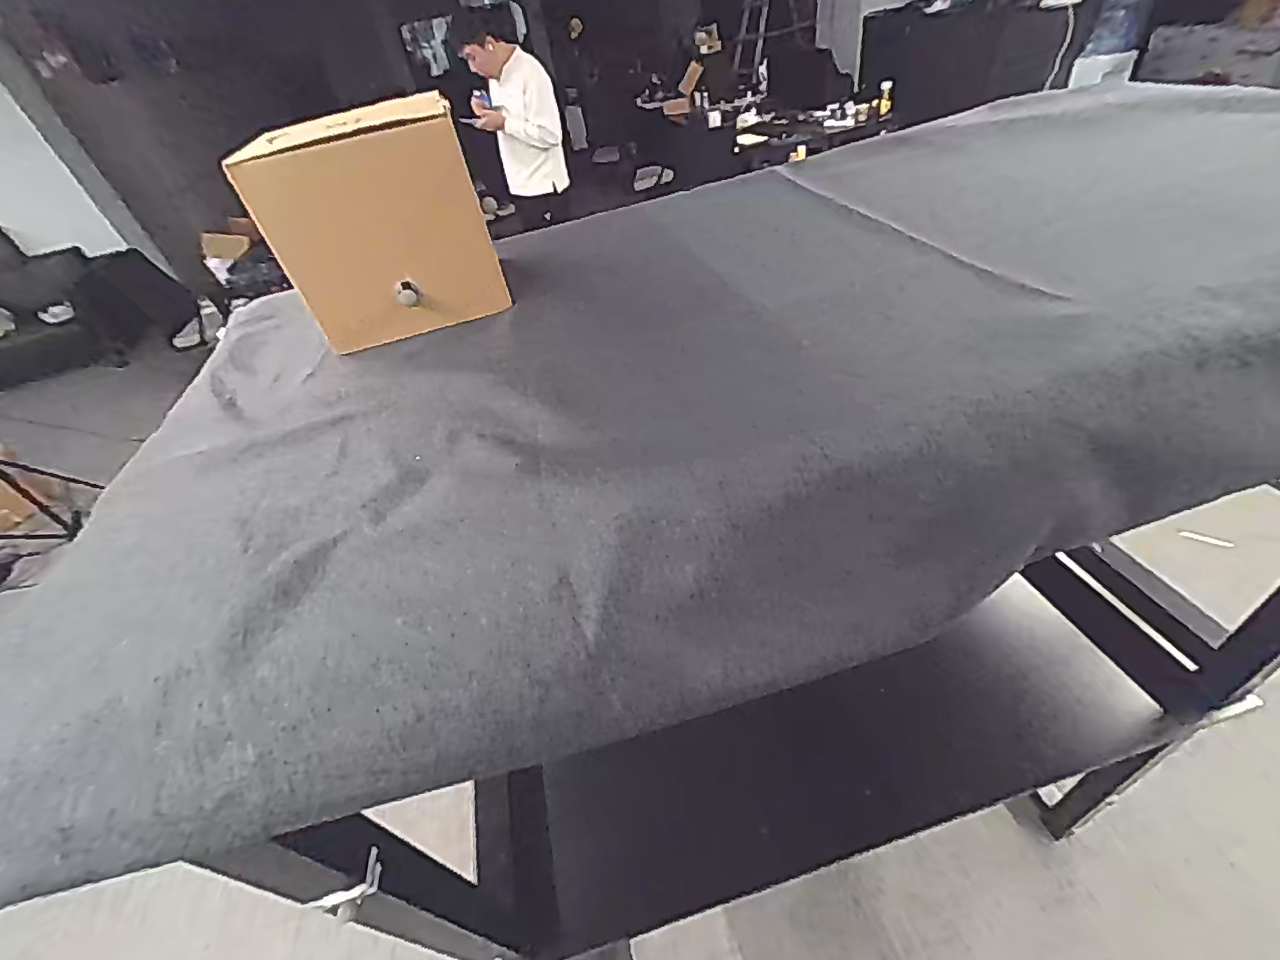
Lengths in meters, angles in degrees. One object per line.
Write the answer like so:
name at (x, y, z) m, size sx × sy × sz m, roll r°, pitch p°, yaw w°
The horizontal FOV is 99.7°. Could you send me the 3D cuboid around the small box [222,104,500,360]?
small box at (-0.245, -0.243, 0.528) m, size 0.179 × 0.176 × 0.168 m, roll -18°, pitch 42°, yaw -7°
